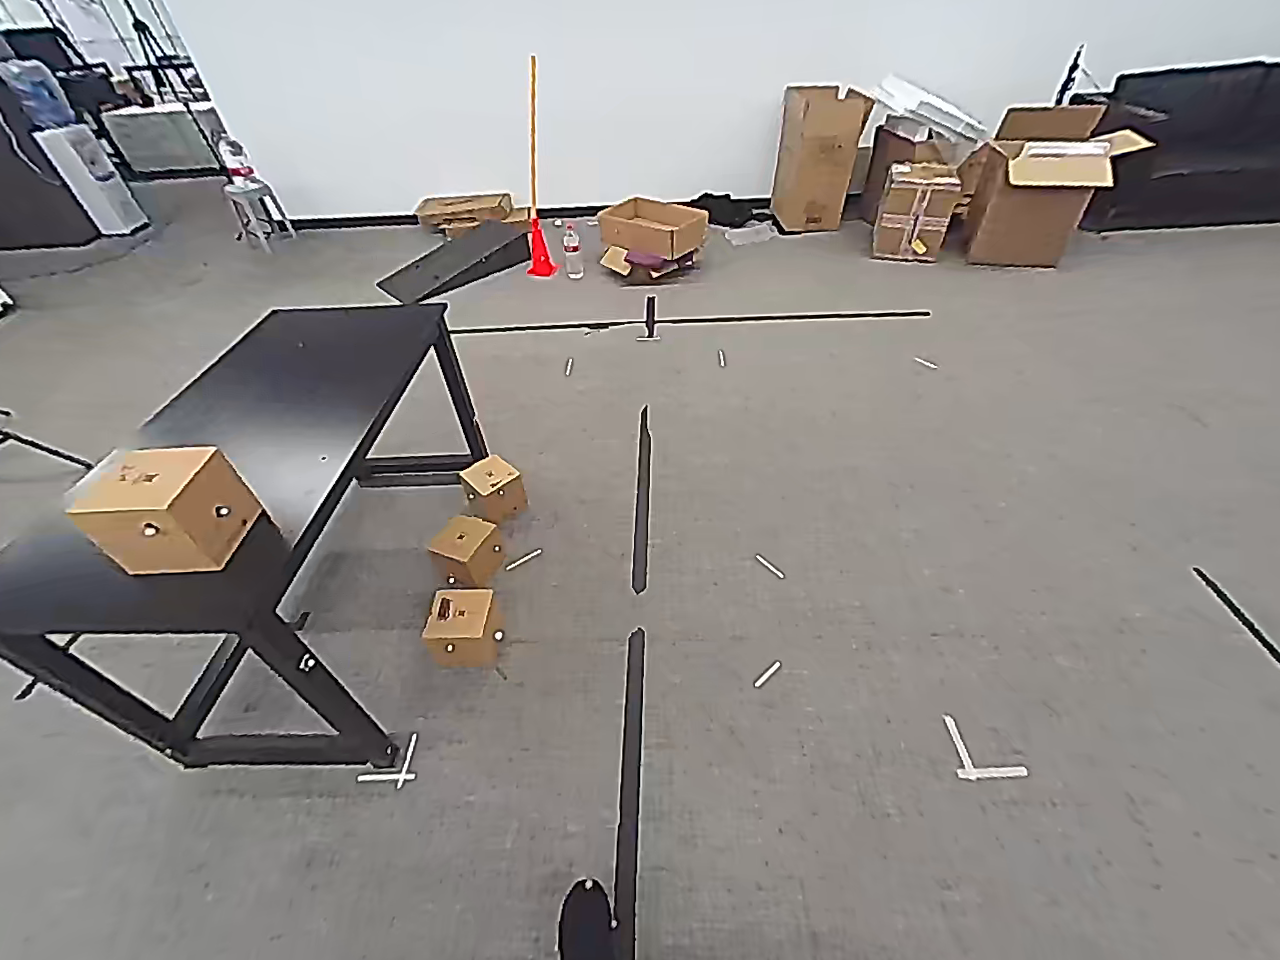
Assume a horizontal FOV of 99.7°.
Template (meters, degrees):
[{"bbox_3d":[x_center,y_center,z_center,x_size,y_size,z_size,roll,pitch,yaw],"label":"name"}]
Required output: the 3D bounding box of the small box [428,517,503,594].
[{"bbox_3d":[-0.588,0.262,1.856,0.168,0.176,0.179,13,47,18],"label":"small box"}]

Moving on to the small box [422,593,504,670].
[{"bbox_3d":[-0.528,0.461,1.638,0.179,0.176,0.168,-1,43,1],"label":"small box"}]

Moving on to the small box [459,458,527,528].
[{"bbox_3d":[-0.560,0.052,2.073,0.179,0.176,0.168,33,54,32],"label":"small box"}]

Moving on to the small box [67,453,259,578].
[{"bbox_3d":[-0.868,0.069,1.012,0.179,0.176,0.168,-3,42,1],"label":"small box"}]
